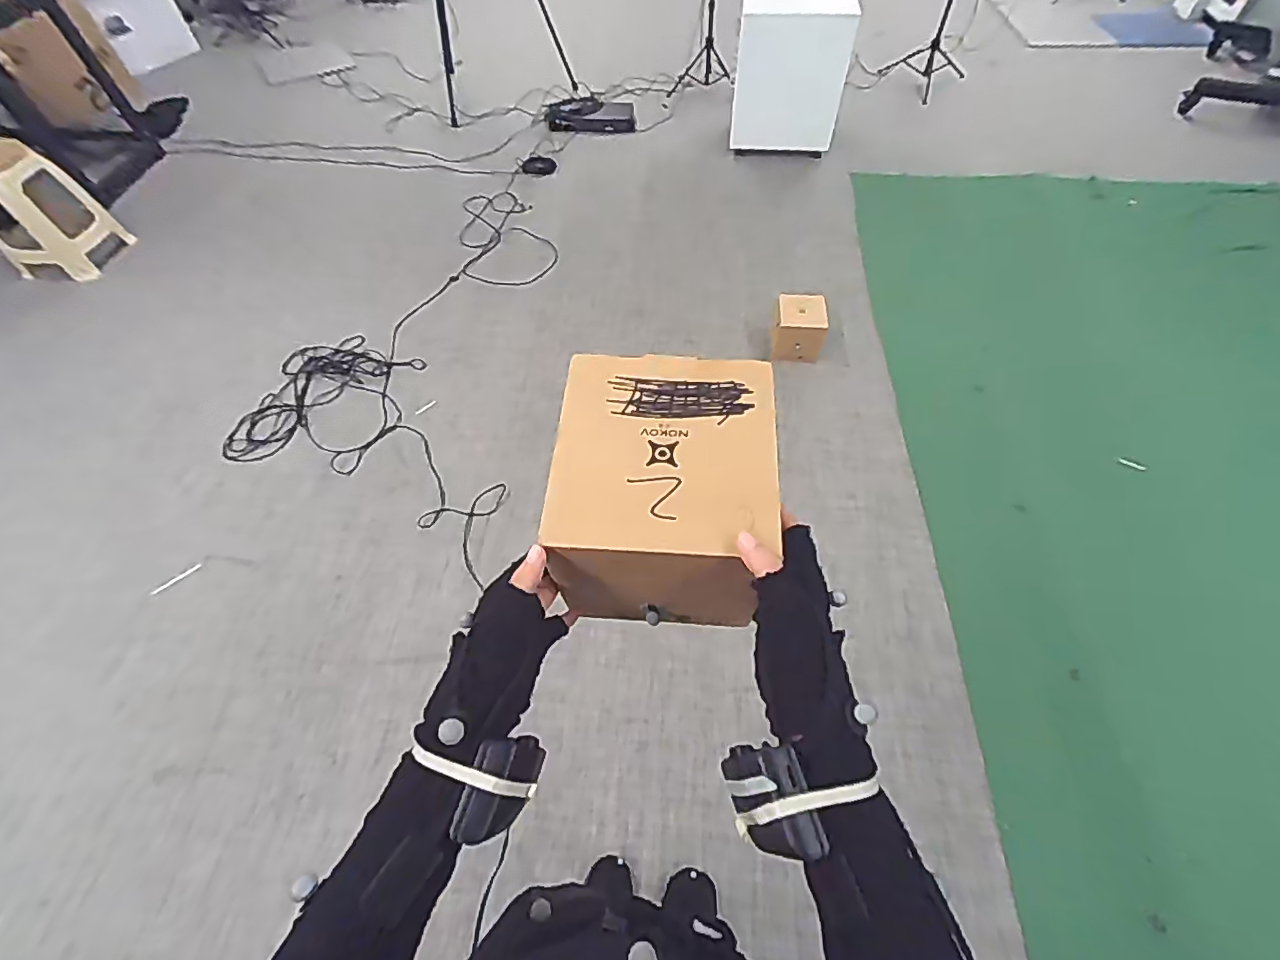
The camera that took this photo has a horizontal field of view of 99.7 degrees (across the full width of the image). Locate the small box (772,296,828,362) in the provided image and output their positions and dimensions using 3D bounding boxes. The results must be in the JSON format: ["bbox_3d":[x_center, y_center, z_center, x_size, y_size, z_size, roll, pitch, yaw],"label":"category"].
[{"bbox_3d":[0.587,-0.555,1.998,0.168,0.176,0.179,4,57,4],"label":"small box"}]
